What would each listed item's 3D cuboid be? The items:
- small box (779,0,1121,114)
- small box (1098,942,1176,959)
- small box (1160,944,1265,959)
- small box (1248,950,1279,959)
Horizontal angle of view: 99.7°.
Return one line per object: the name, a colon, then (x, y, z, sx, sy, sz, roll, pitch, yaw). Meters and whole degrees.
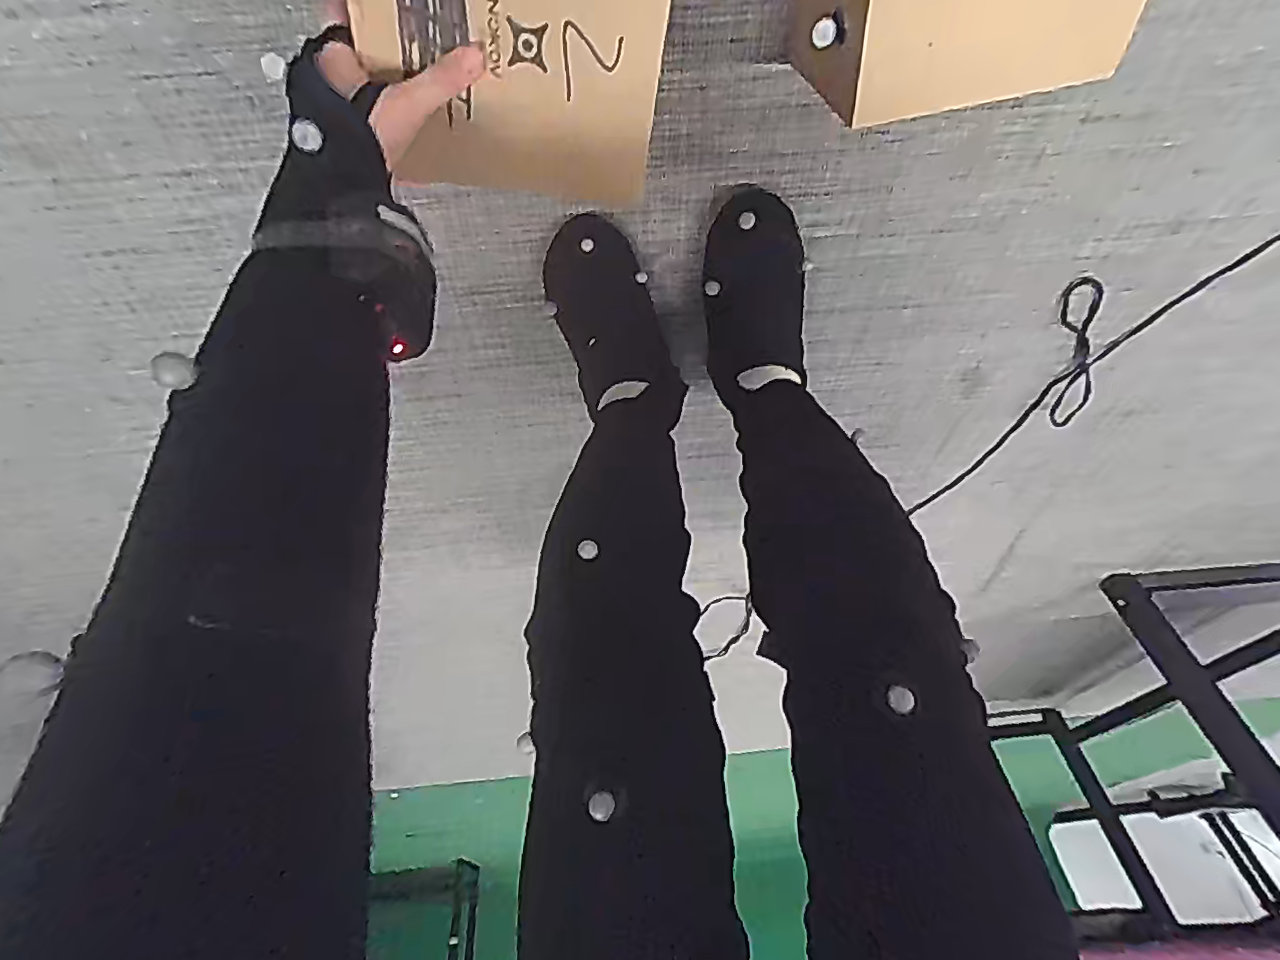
small box: (0.188, -0.365, 0.333, 0.168, 0.176, 0.179, -9, 140, 4)
small box: (1.425, 1.404, 1.496, 0.168, 0.176, 0.179, -18, 139, 12)
small box: (1.434, 1.237, 1.299, 0.168, 0.176, 0.179, -1, 140, -6)
small box: (1.444, 1.071, 1.100, 0.179, 0.176, 0.168, -6, 140, 0)
